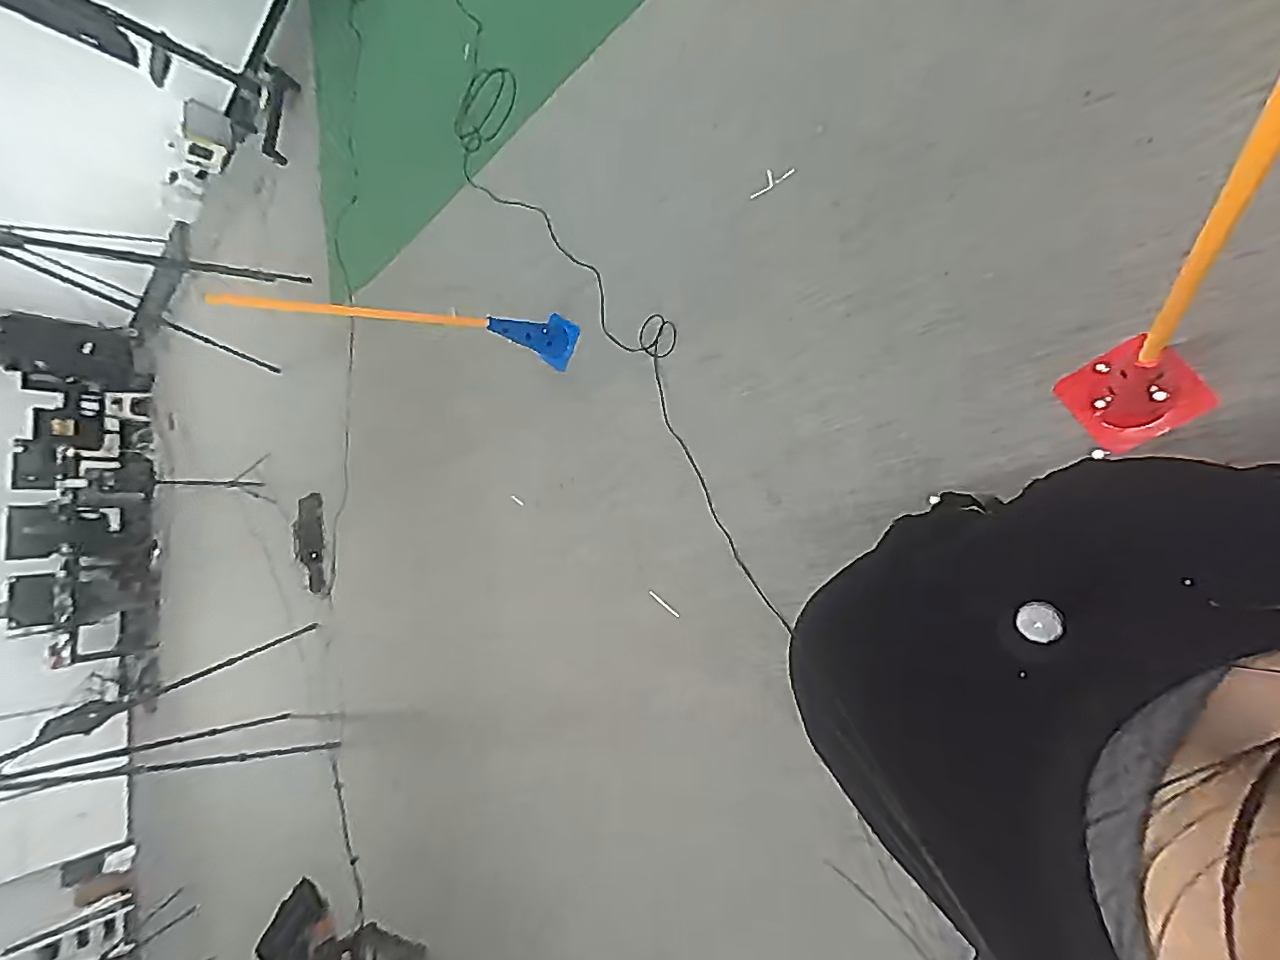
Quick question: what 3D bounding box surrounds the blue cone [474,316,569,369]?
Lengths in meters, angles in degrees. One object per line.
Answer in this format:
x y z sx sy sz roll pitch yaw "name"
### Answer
-0.475 -0.569 2.109 0.192 0.380 0.193 36 111 32 "blue cone"
